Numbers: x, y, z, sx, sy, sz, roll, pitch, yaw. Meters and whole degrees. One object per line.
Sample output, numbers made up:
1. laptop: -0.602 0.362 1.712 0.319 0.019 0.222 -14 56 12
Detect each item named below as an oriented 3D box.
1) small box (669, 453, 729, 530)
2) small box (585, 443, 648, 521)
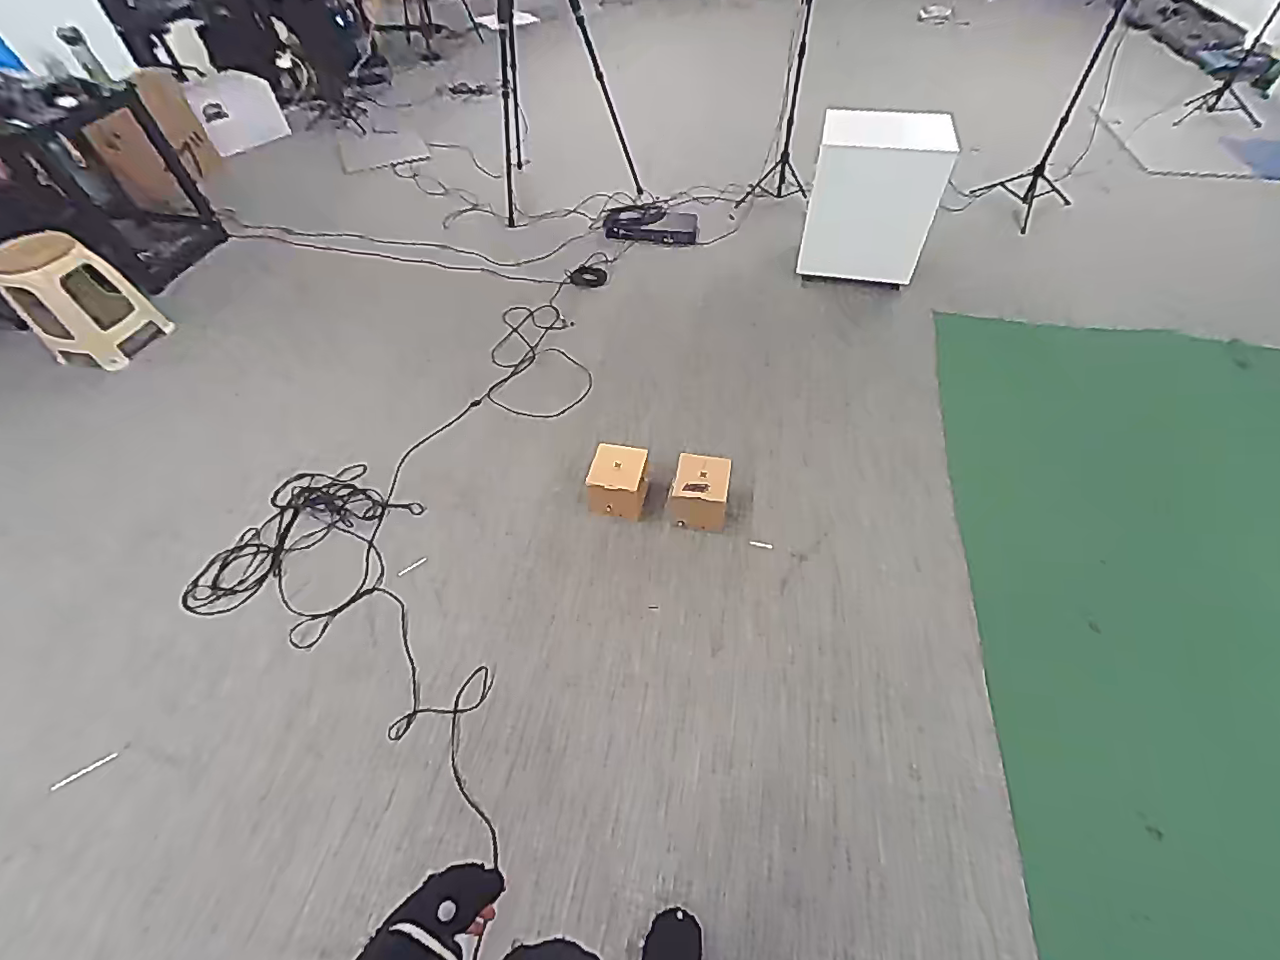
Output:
1. small box: 0.190 0.040 1.736 0.168 0.176 0.179 8 51 9
2. small box: -0.071 0.007 1.779 0.168 0.176 0.179 8 52 10
